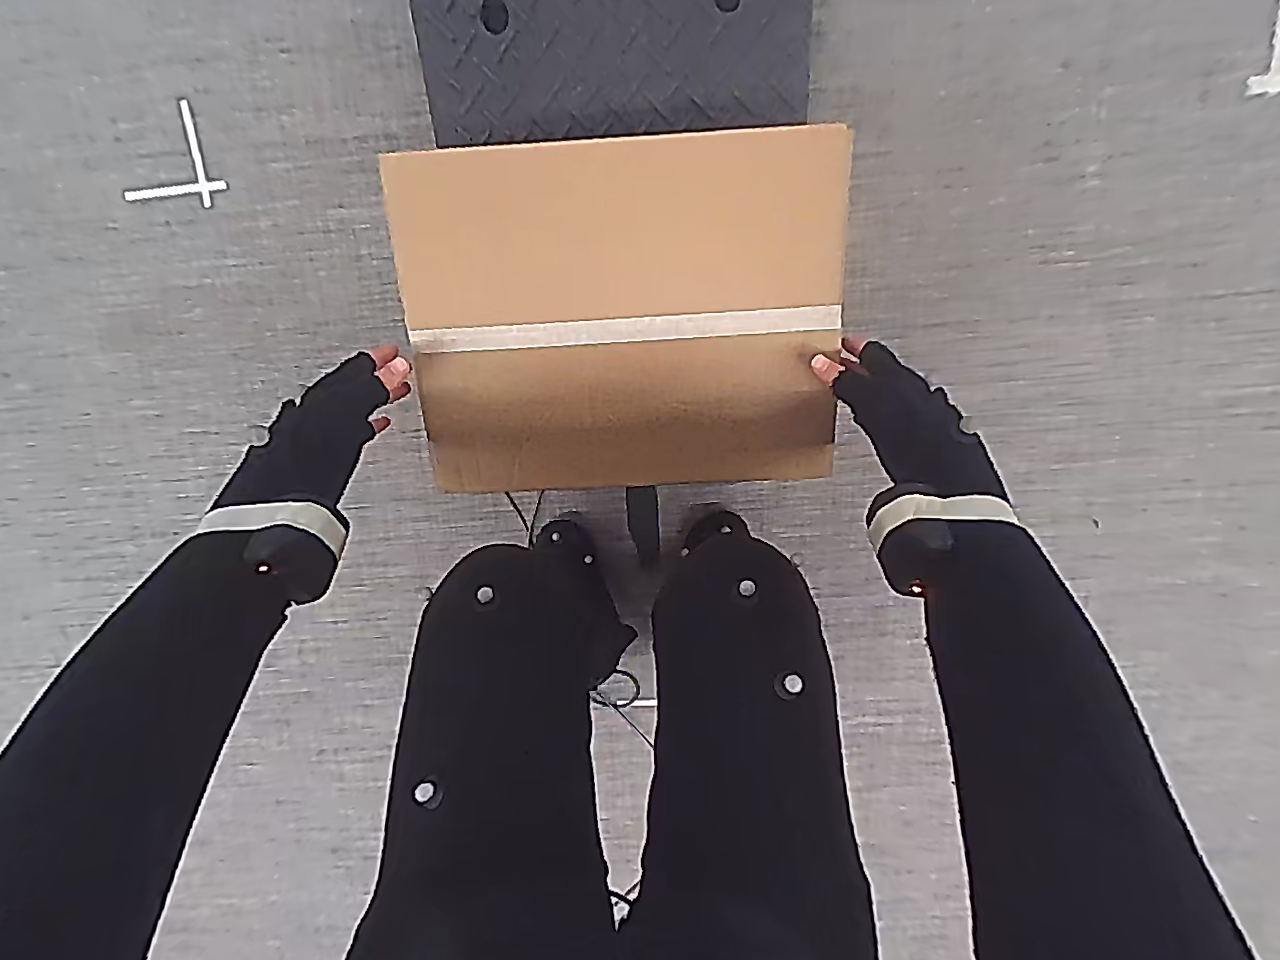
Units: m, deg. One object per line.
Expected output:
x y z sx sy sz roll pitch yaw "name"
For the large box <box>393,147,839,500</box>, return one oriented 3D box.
-0.012 -0.179 0.660 0.408 0.320 0.320 -2 107 1 "large box"
